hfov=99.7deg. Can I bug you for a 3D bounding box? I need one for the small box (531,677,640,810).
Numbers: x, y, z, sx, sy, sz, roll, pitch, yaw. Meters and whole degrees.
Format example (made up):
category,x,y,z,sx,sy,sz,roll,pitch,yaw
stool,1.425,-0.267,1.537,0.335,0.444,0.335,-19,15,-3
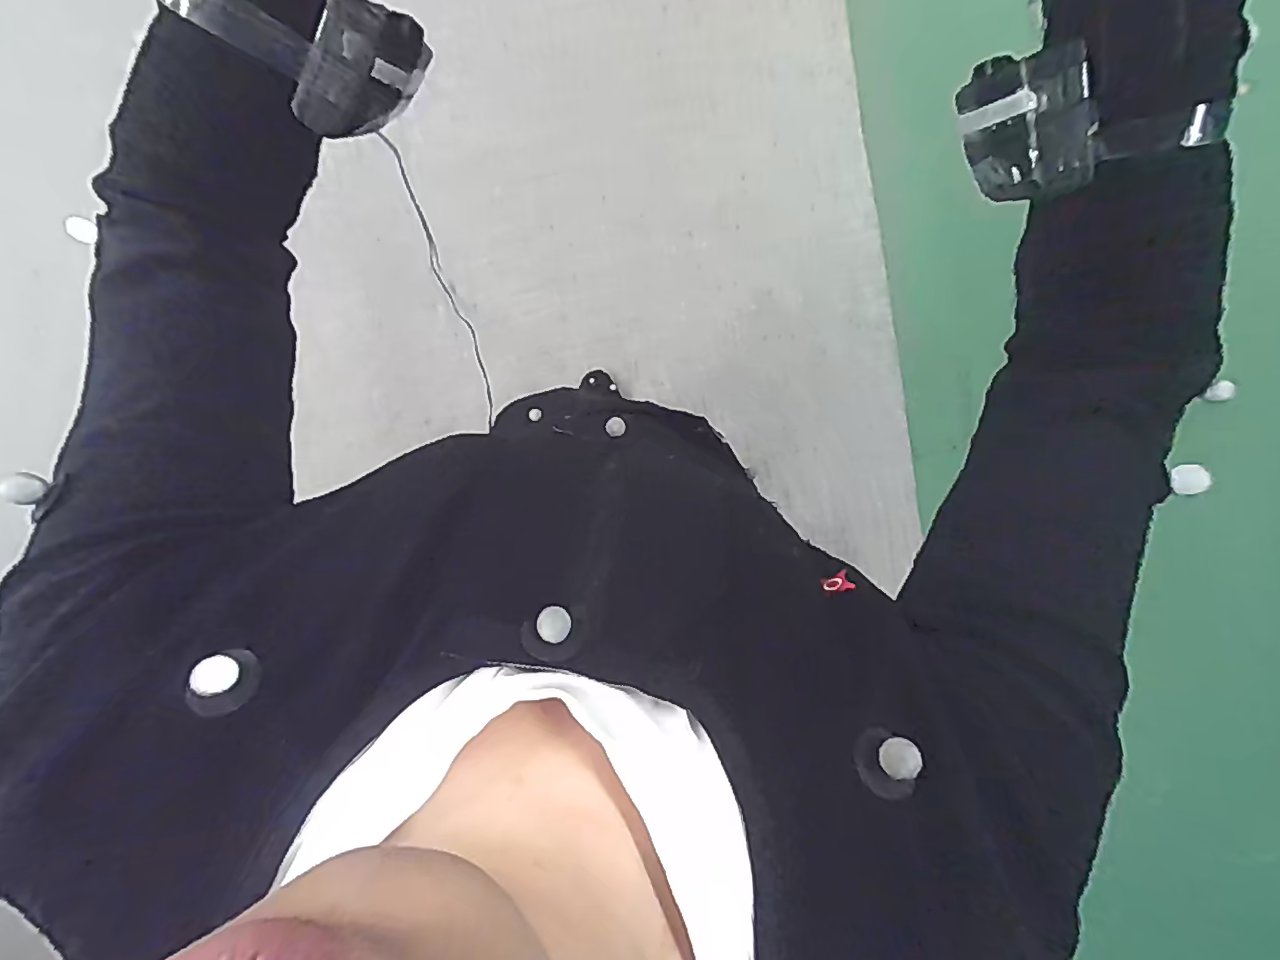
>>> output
category,x,y,z,sx,sy,sz,roll,pitch,yaw
small box,-0.096,0.492,1.031,0.168,0.176,0.179,-4,99,9
